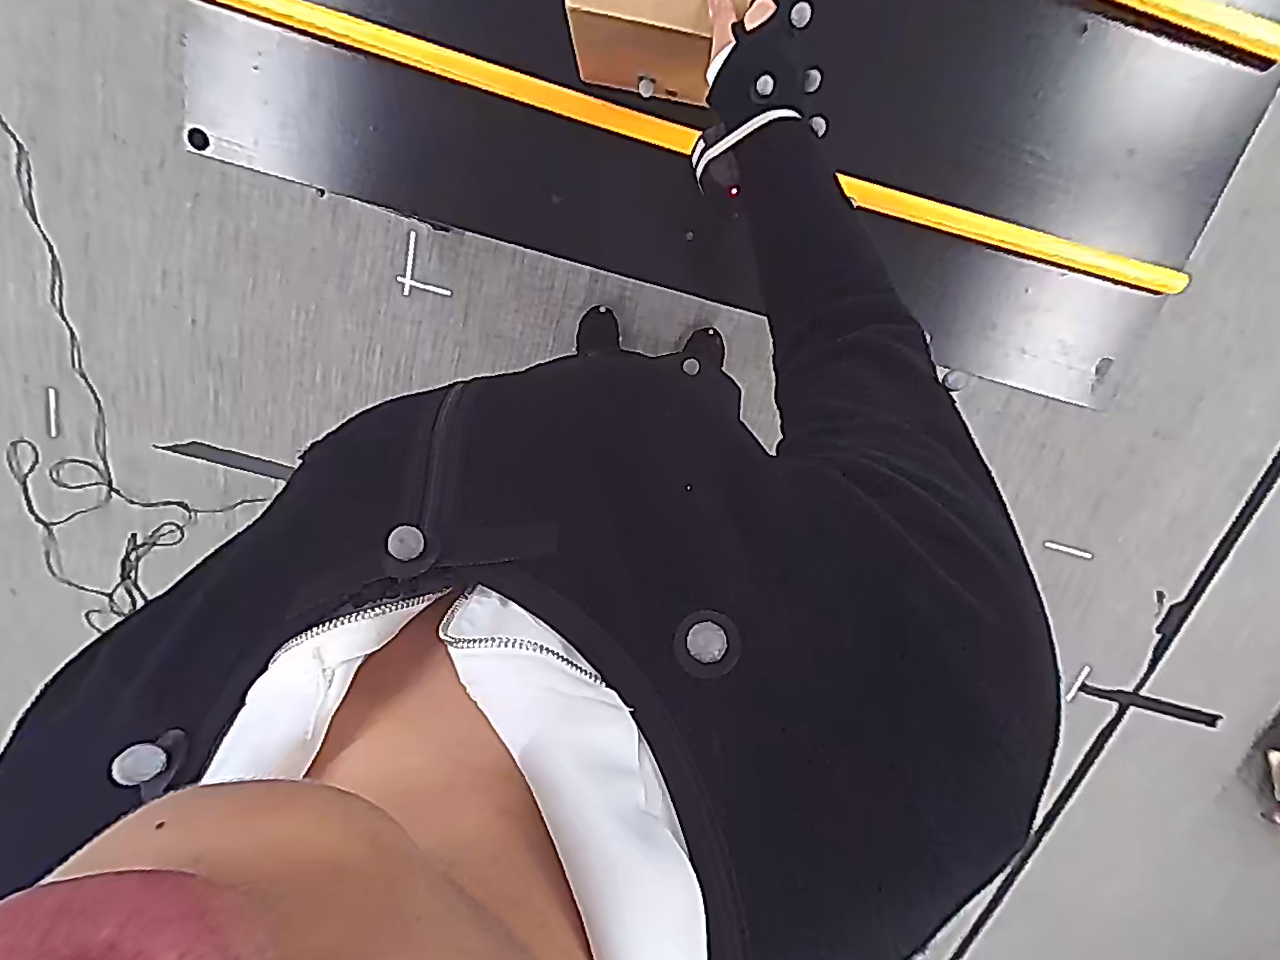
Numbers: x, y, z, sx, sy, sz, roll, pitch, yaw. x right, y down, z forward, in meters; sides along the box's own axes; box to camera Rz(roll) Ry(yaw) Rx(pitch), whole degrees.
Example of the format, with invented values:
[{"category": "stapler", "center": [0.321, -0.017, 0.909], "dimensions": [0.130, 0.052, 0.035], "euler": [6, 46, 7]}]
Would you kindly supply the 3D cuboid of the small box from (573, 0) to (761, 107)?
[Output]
[{"category": "small box", "center": [0.033, -0.500, 0.518], "dimensions": [0.168, 0.176, 0.179], "euler": [10, 108, -3]}]
